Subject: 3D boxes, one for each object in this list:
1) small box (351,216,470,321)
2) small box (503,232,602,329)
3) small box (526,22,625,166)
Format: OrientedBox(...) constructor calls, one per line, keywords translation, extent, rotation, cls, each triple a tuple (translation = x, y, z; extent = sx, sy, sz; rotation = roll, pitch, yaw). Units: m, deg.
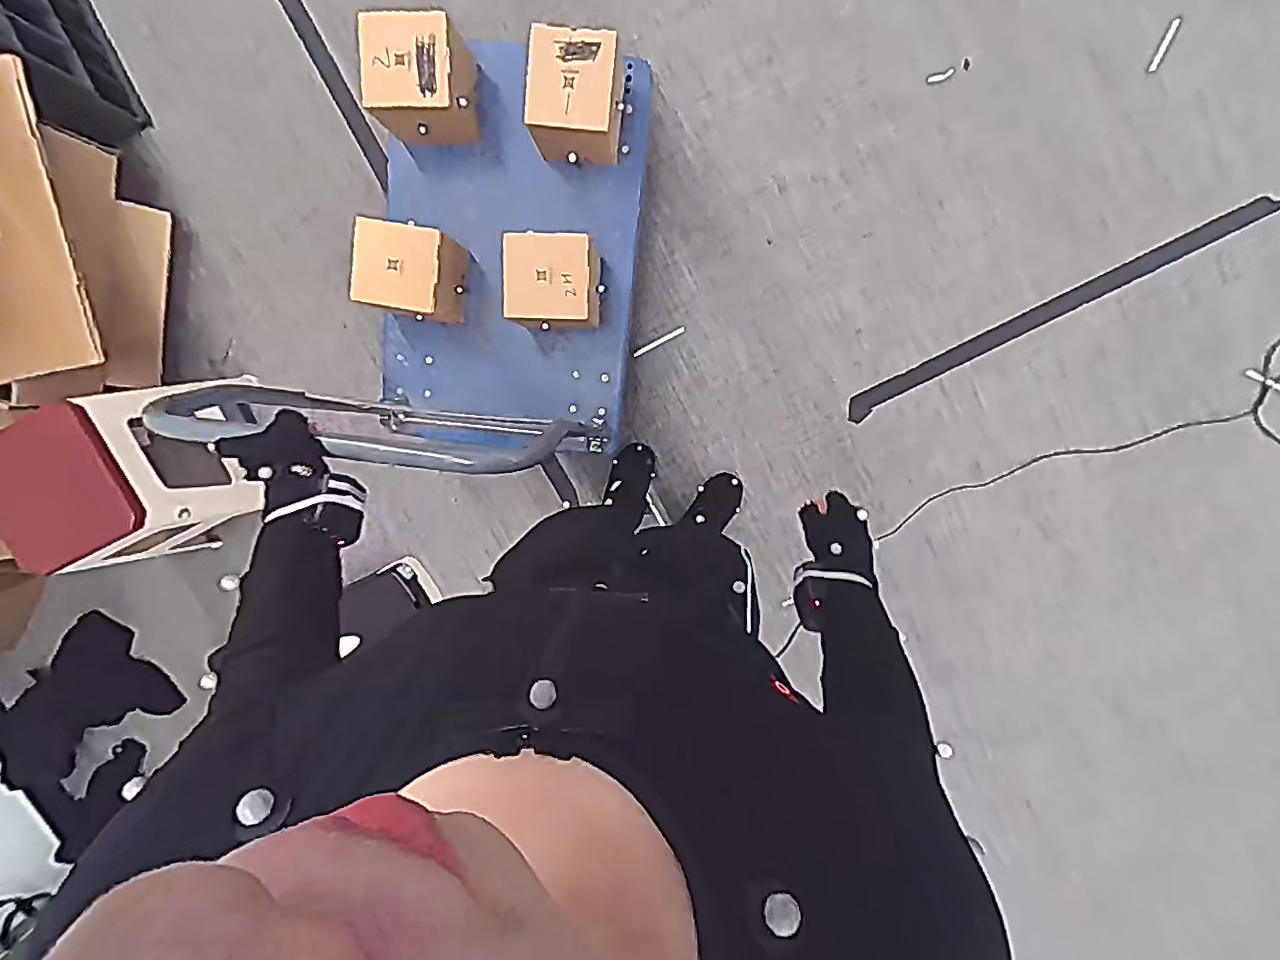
OrientedBox(translation=(-0.488, -0.447, 1.169), extent=(0.179, 0.176, 0.168), rotation=(9, 99, 0), cls="small box")
OrientedBox(translation=(-0.181, -0.418, 1.156), extent=(0.179, 0.176, 0.168), rotation=(3, 100, 3), cls="small box")
OrientedBox(translation=(-0.124, -0.771, 1.095), extent=(0.168, 0.176, 0.179), rotation=(7, 101, 2), cls="small box")
